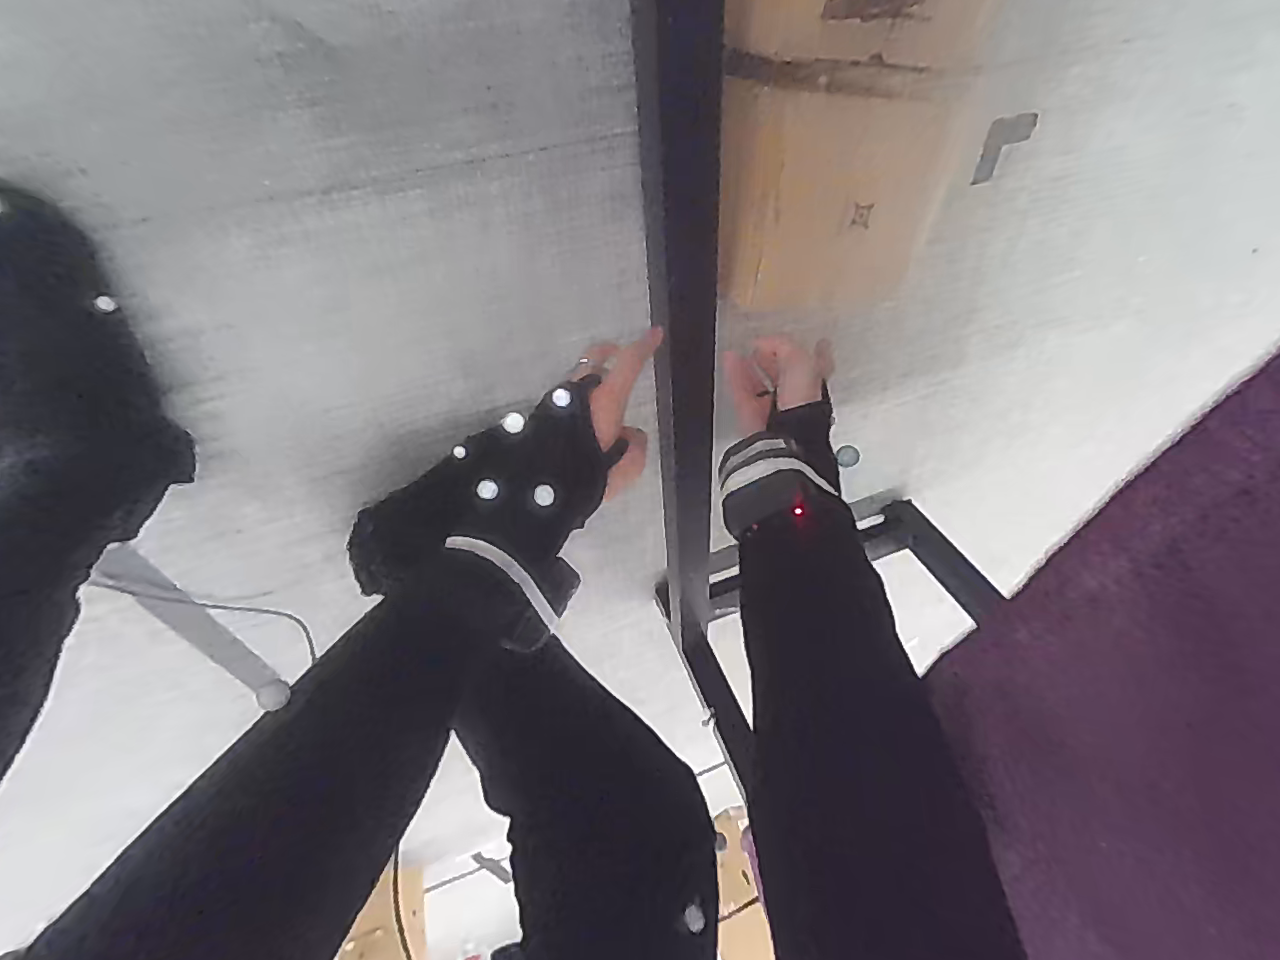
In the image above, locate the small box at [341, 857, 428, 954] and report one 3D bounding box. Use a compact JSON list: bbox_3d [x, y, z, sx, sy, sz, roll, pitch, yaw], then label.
[{"bbox_3d":[-0.713,1.196,1.524,0.168,0.176,0.179,-19,136,-8],"label":"small box"}]
